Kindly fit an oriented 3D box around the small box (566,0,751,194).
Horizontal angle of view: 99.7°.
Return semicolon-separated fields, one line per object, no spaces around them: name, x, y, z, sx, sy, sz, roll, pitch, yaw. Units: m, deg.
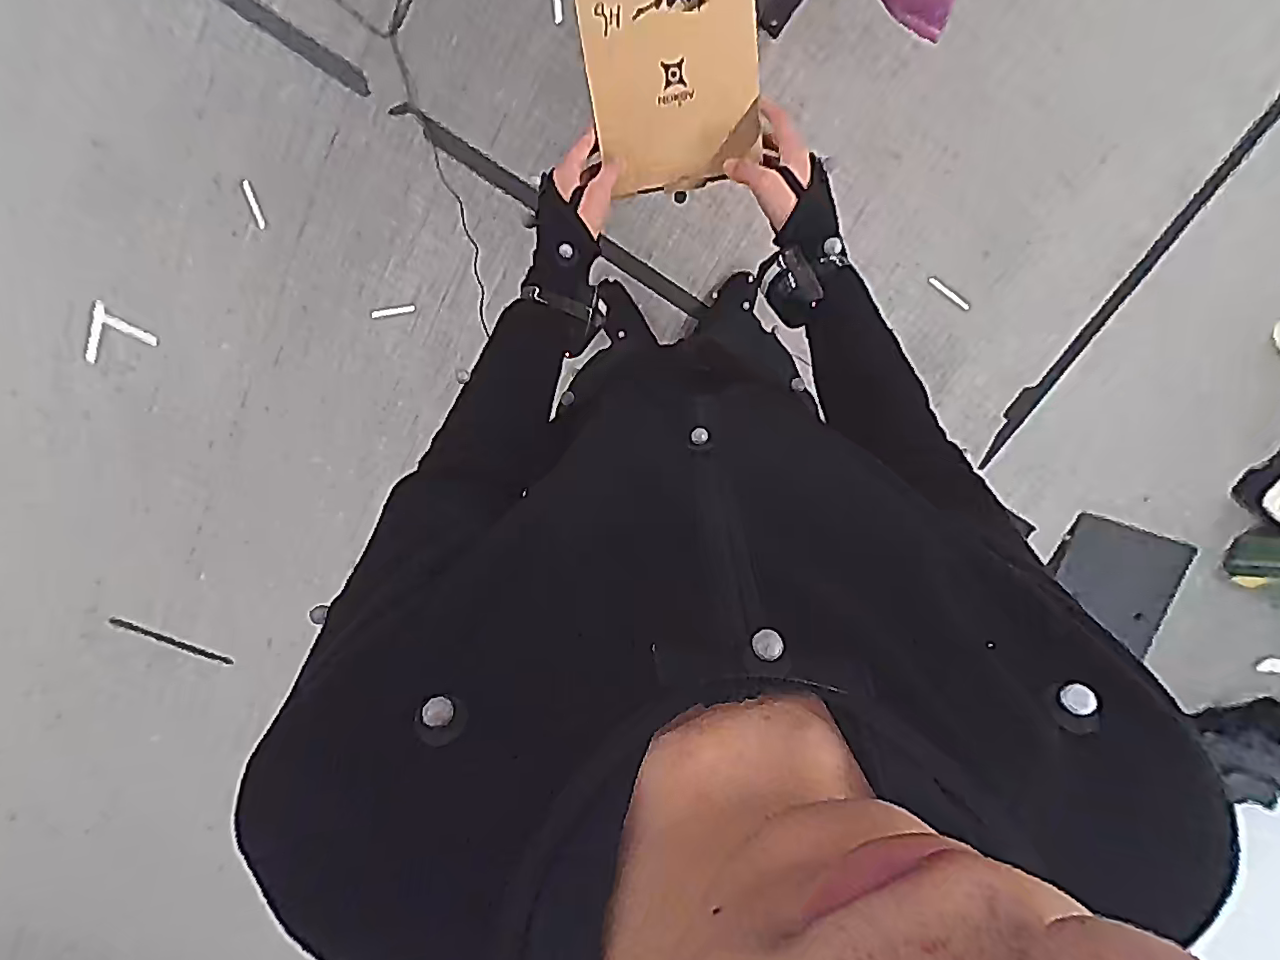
small box;0.024;-0.428;0.596;0.168;0.176;0.179;-8;118;4
